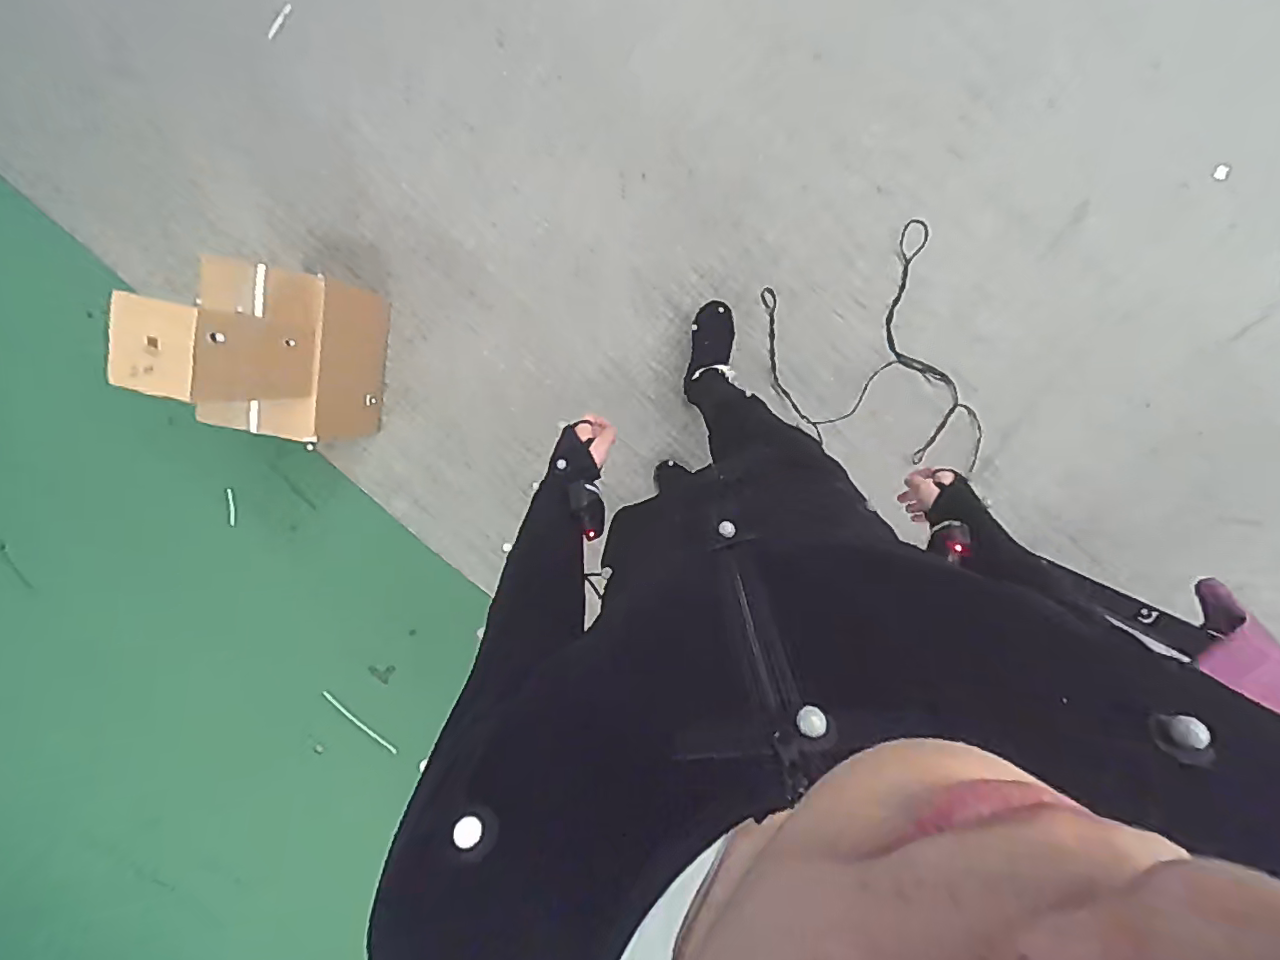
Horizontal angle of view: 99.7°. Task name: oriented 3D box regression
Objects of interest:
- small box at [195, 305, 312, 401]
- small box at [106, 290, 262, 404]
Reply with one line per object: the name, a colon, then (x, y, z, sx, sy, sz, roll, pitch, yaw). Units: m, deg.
small box: (-0.876, -0.282, 1.226, 0.168, 0.176, 0.179, 11, 101, 1)
small box: (-0.885, -0.254, 1.064, 0.168, 0.176, 0.179, 13, 100, 2)
